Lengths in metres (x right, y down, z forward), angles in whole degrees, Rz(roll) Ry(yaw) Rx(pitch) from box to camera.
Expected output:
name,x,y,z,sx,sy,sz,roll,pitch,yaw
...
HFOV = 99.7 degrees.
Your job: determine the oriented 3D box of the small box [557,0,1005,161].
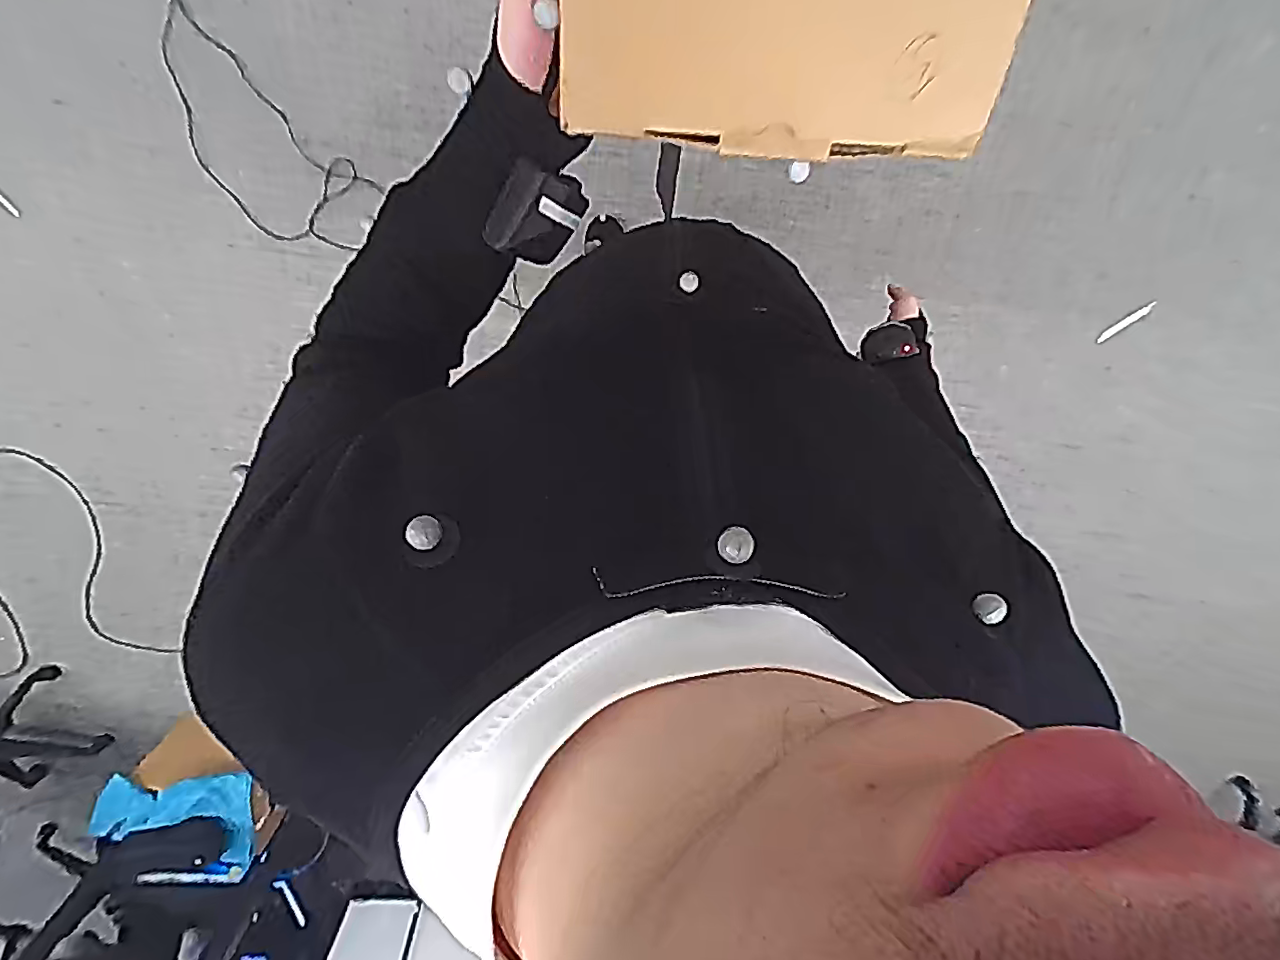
name,x,y,z,sx,sy,sz,roll,pitch,yaw
small box,0.050,-0.252,0.240,0.168,0.176,0.179,0,123,-6
